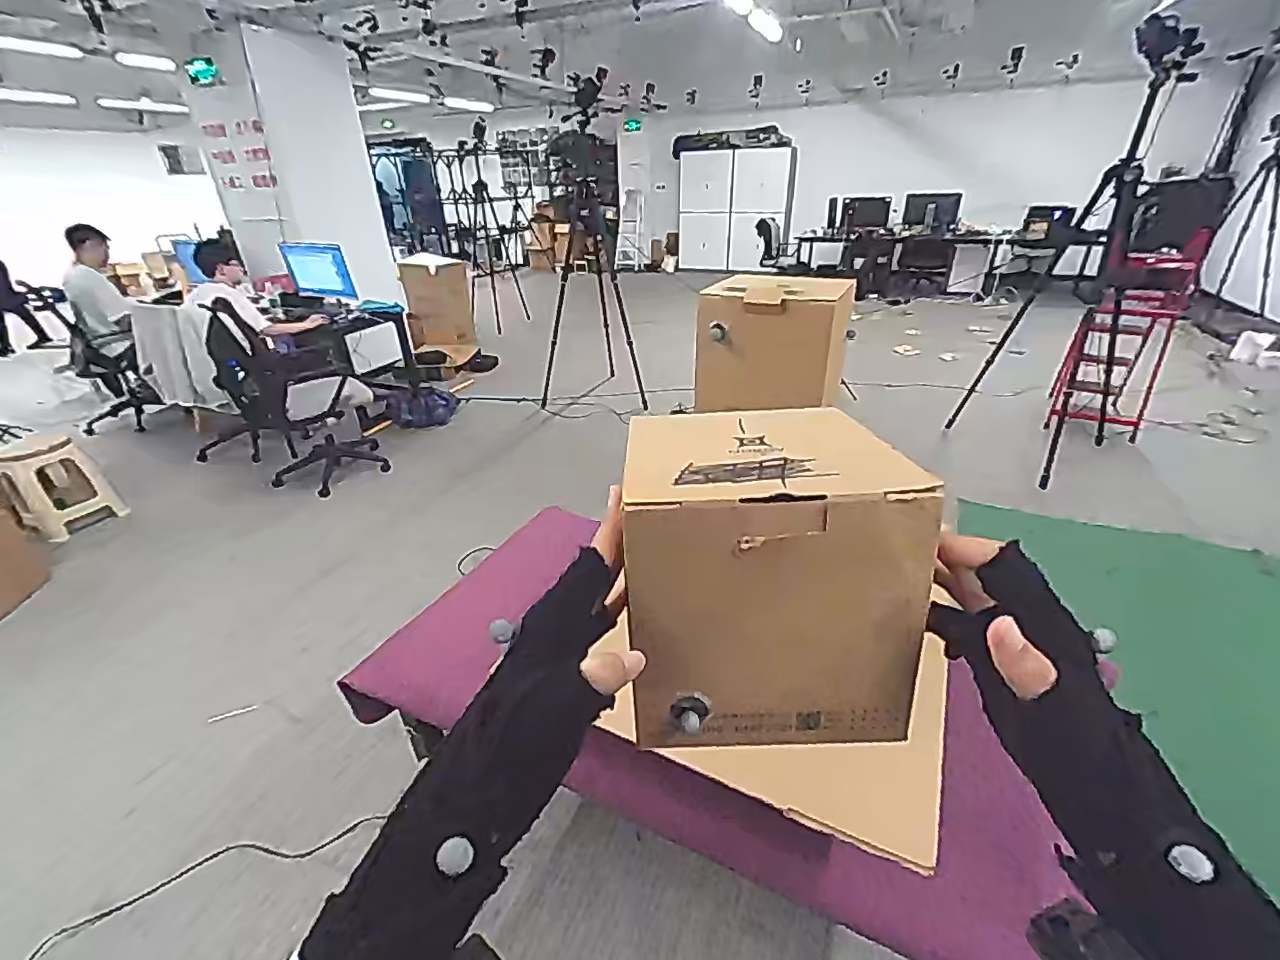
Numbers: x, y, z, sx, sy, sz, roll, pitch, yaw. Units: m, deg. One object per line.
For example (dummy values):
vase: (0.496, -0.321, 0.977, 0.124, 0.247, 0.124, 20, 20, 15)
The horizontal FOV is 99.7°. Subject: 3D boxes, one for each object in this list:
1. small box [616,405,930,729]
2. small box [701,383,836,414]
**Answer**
small box: (0.076, 0.053, 0.383, 0.168, 0.176, 0.179, -3, 21, 2)
small box: (0.187, -0.031, 0.815, 0.168, 0.176, 0.179, 11, 31, 23)
